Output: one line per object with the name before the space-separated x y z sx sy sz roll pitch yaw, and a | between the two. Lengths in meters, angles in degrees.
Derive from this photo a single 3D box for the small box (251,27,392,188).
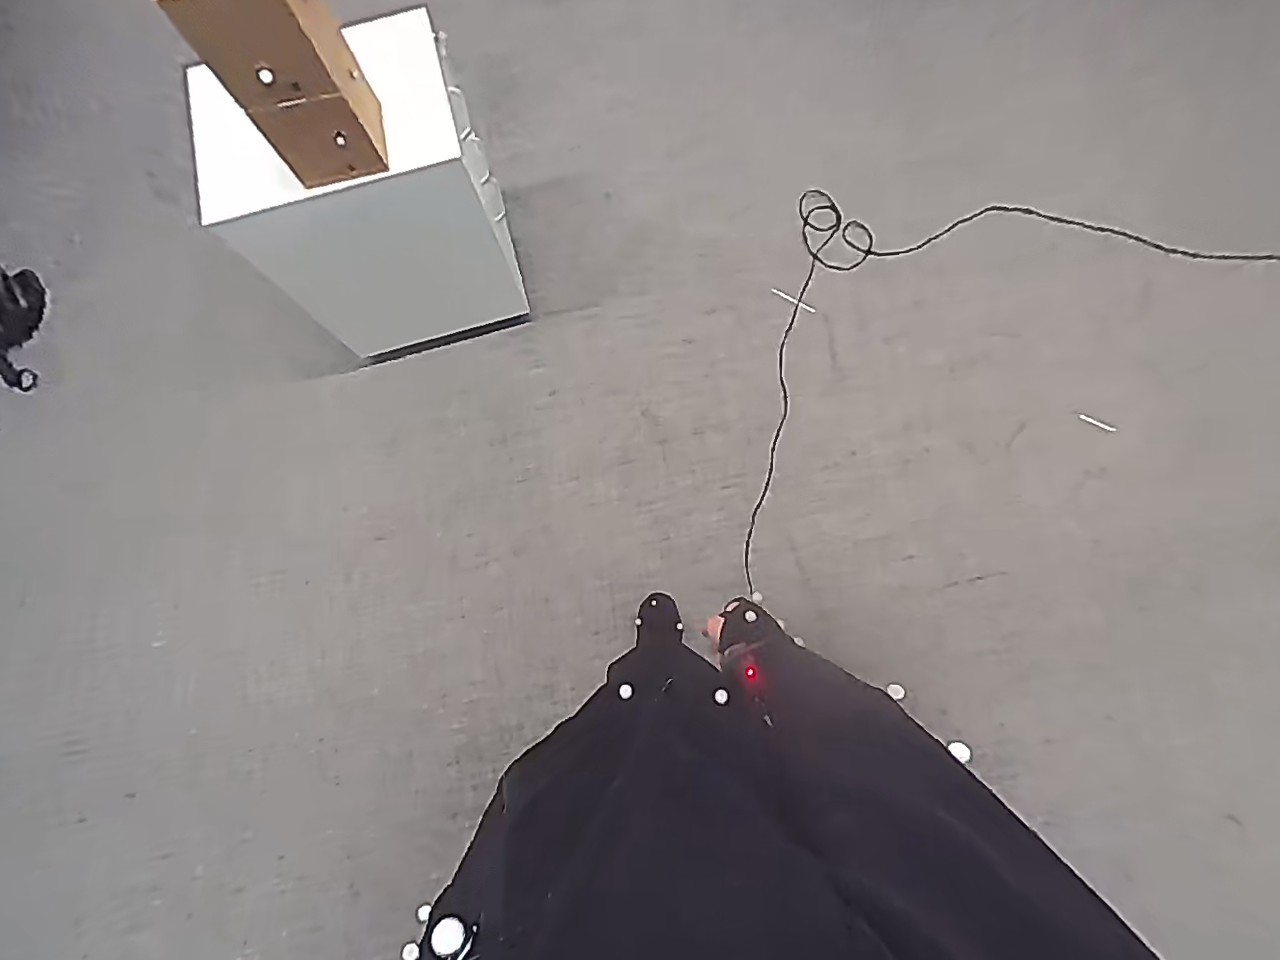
small box | -0.574 -0.665 0.987 0.168 0.176 0.179 -13 74 -2

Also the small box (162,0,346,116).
small box | -0.579 -0.709 0.829 0.168 0.176 0.179 -12 76 -1
